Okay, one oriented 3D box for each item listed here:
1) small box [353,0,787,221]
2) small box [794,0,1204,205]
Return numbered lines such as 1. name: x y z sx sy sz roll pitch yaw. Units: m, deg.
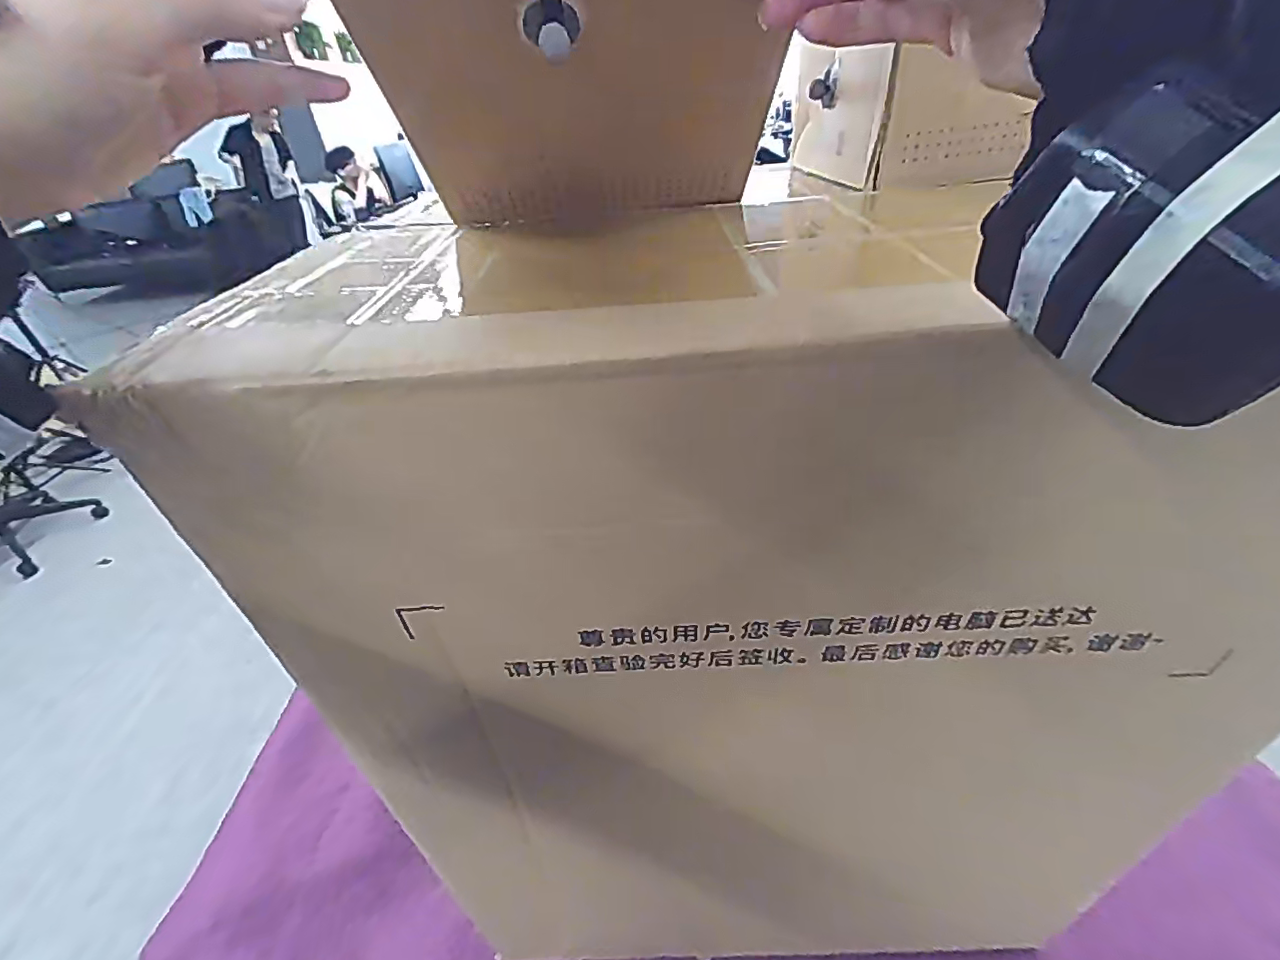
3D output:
1. small box: -0.031 -0.246 0.255 0.179 0.168 0.176 -5 -7 -2
2. small box: 0.213 -0.291 0.349 0.179 0.176 0.168 -8 36 -1
